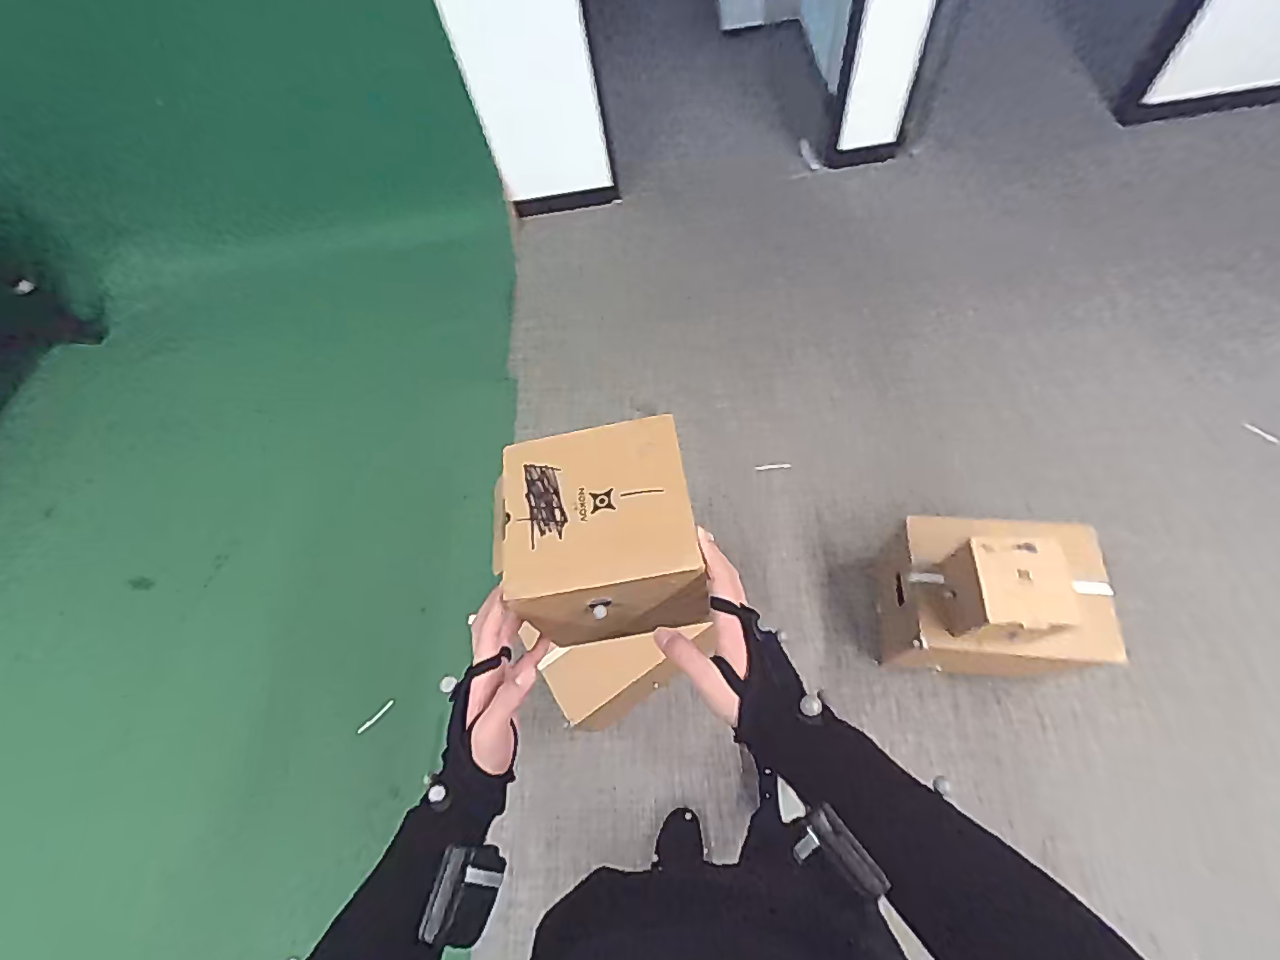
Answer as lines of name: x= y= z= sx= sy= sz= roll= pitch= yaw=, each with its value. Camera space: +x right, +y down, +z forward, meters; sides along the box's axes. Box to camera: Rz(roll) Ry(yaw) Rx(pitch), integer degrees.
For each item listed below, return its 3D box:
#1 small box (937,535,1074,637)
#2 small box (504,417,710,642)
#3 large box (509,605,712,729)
small box: x=0.742 y=0.224 z=1.118 sx=0.168 sy=0.176 sz=0.179 roll=0 pitch=65 yaw=8
small box: x=-0.028 y=0.061 z=0.565 sx=0.179 sy=0.176 sz=0.168 roll=-10 pitch=59 yaw=4
large box: x=-0.058 y=0.392 z=1.418 sx=0.408 sy=0.320 sz=0.320 roll=-34 pitch=63 yaw=-9
